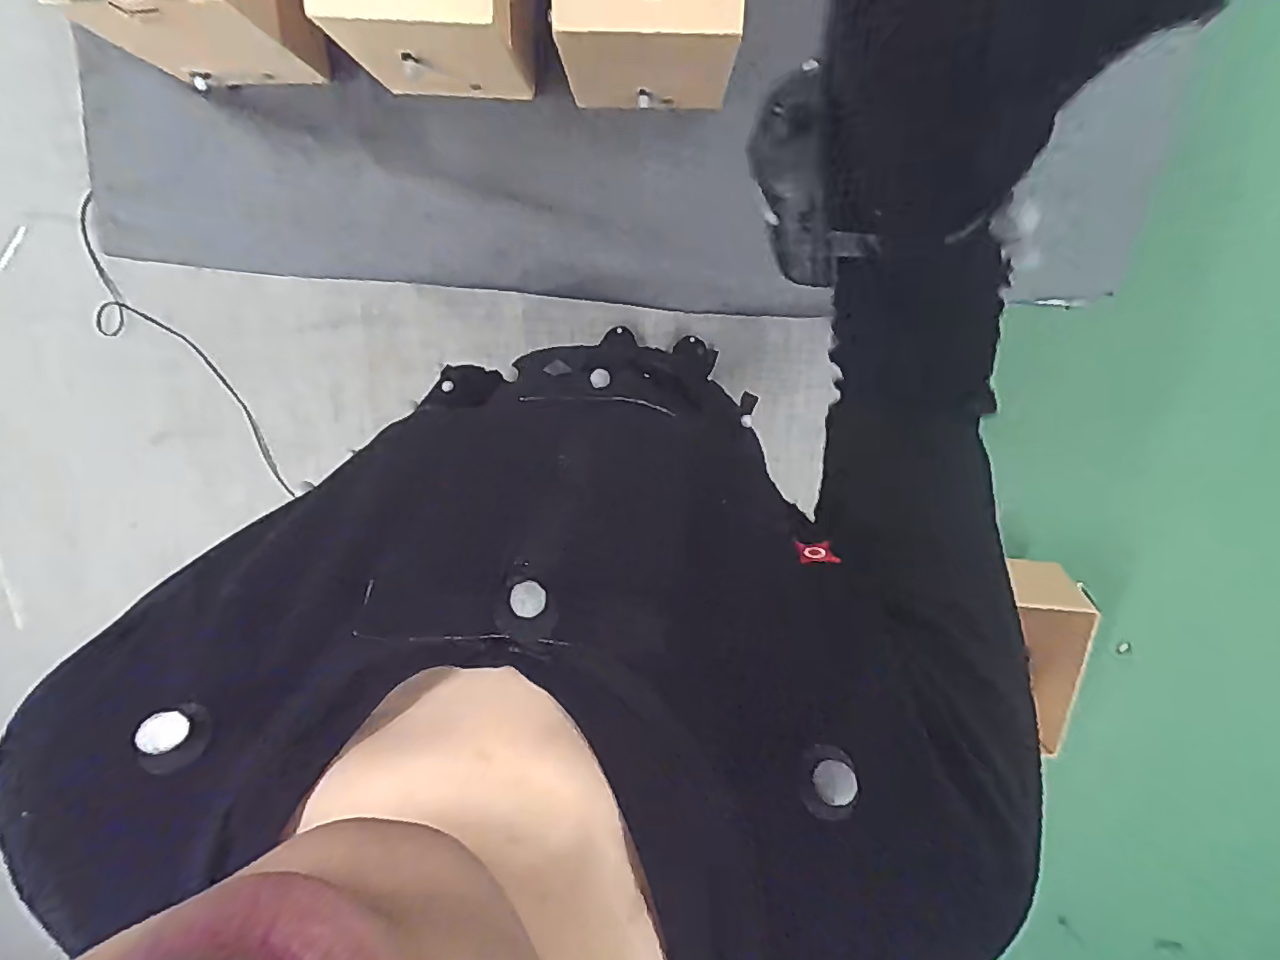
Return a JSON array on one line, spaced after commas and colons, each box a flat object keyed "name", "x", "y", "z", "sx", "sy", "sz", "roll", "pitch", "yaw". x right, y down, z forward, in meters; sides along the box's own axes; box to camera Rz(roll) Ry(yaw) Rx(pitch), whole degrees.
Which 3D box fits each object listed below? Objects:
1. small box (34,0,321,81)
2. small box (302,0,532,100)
[{"name": "small box", "x": -0.436, "y": -0.510, "z": 0.514, "sx": 0.168, "sy": 0.176, "sz": 0.179, "roll": 0, "pitch": 104, "yaw": 1}, {"name": "small box", "x": -0.200, "y": -0.494, "z": 0.516, "sx": 0.168, "sy": 0.176, "sz": 0.179, "roll": 3, "pitch": 105, "yaw": 0}]
